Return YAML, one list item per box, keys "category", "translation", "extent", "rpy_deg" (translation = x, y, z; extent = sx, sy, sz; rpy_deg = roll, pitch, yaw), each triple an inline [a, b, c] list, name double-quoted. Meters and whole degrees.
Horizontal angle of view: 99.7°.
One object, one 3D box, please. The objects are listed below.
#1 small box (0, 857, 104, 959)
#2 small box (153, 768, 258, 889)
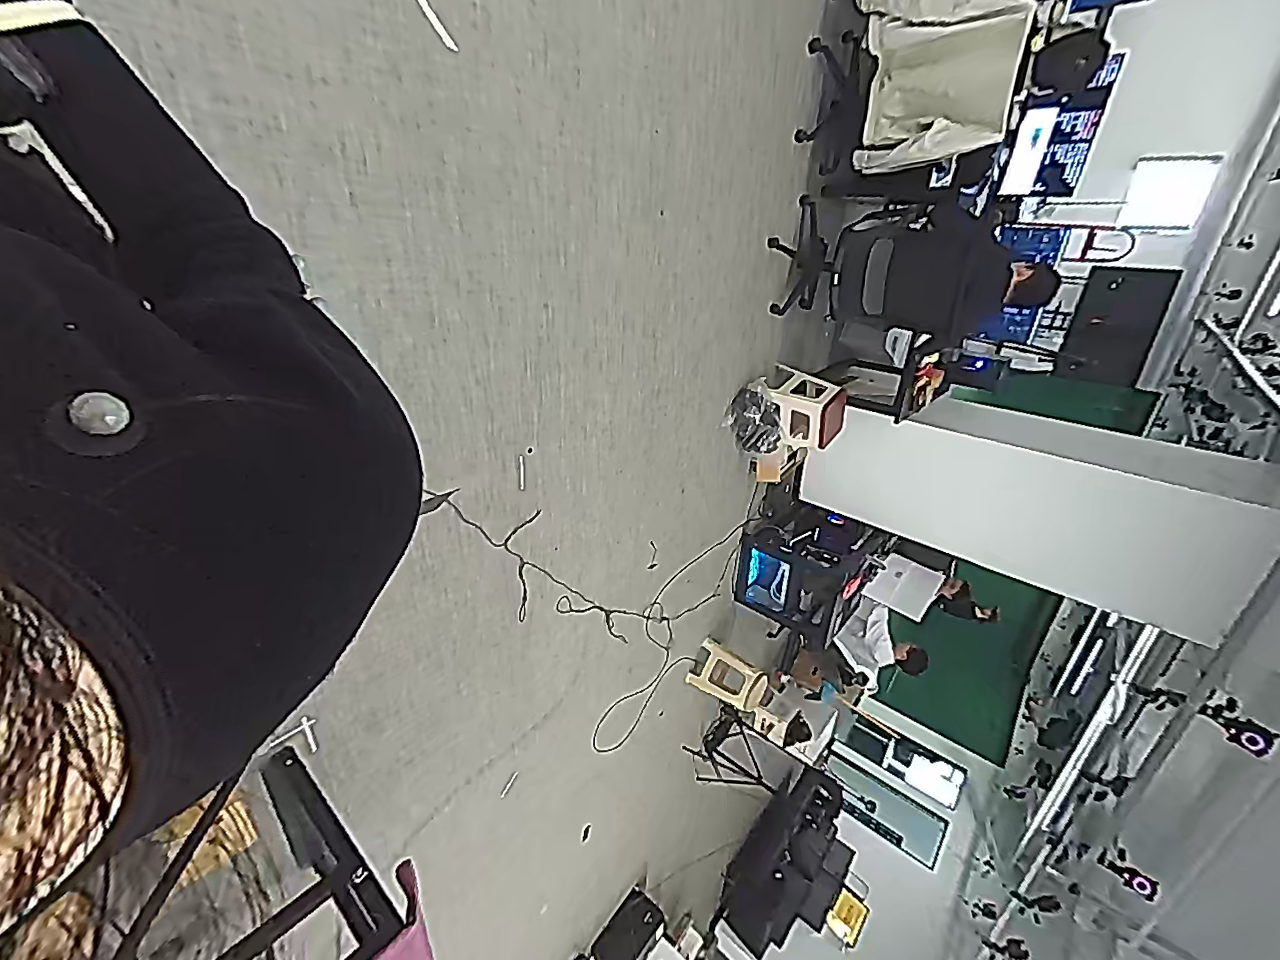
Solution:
- category: "small box"
  translation: [-1.364, 1.009, 1.220]
  extent: [0.168, 0.176, 0.179]
  rpy_deg: [-26, 126, -44]
- category: "small box"
  translation: [-1.160, 0.922, 1.446]
  extent: [0.168, 0.176, 0.179]
  rpy_deg: [-22, 126, -46]
